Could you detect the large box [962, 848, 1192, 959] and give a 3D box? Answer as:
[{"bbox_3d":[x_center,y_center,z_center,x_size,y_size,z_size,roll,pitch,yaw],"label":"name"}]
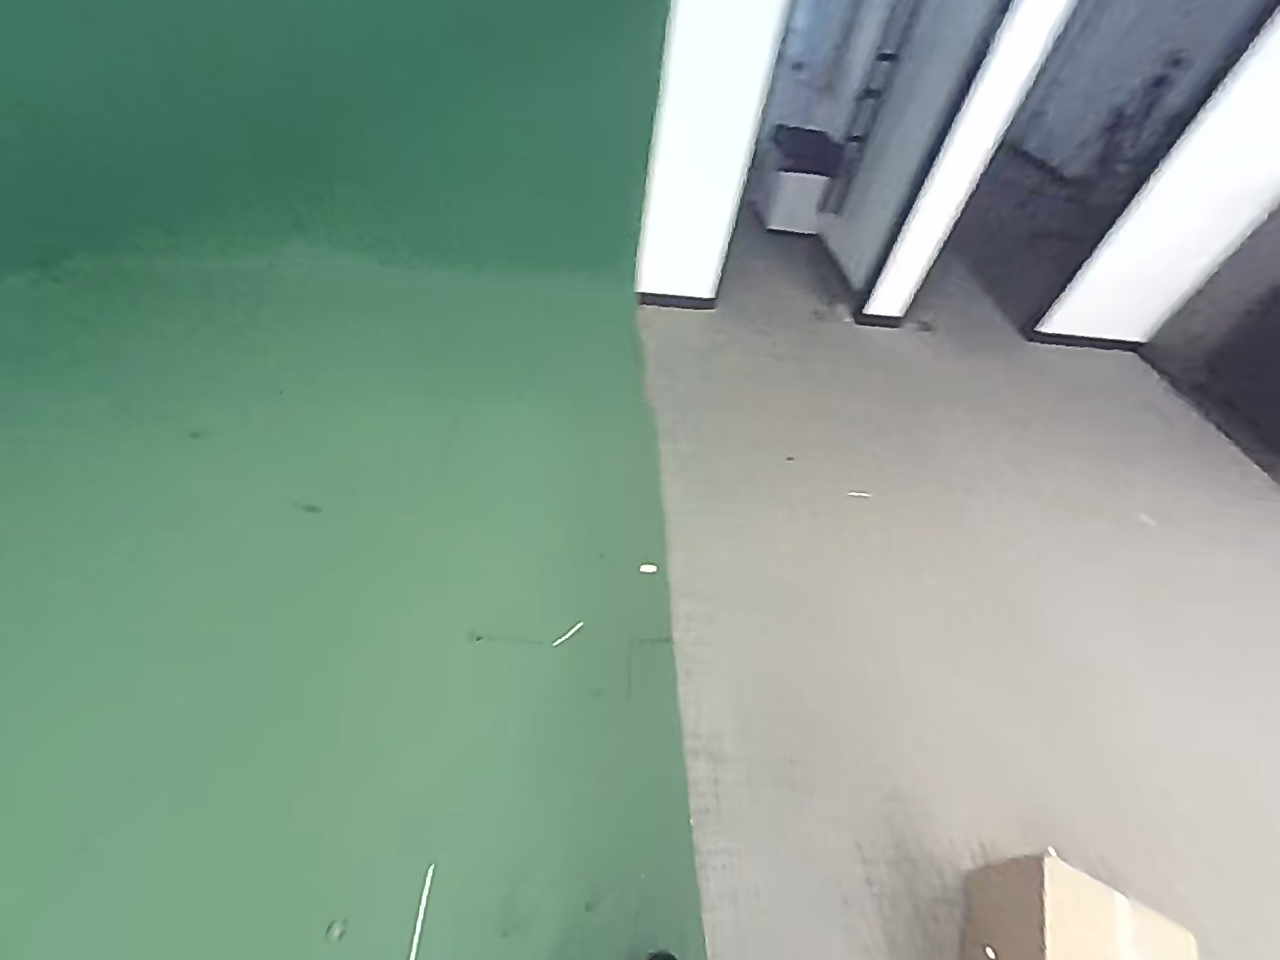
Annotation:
[{"bbox_3d":[0.928,1.119,1.167,0.320,0.320,0.408,26,47,14],"label":"large box"}]
